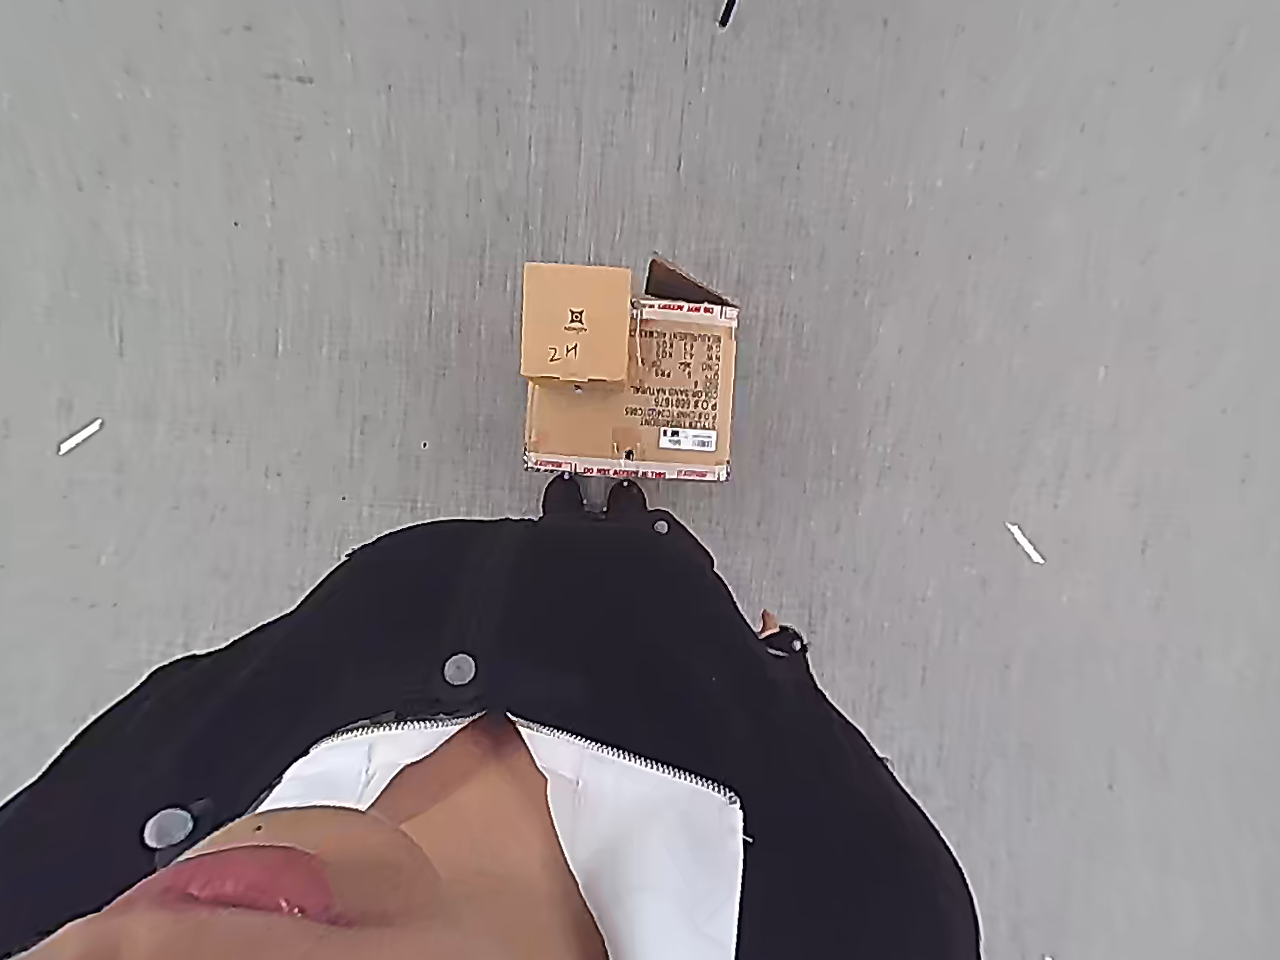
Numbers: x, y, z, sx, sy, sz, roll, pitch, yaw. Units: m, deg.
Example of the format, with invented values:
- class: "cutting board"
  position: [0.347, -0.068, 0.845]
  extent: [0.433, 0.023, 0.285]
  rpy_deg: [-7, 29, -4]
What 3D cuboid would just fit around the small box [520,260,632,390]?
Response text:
- class: "small box"
  position: [-0.102, -0.251, 0.910]
  extent: [0.168, 0.176, 0.179]
  rpy_deg: [3, 95, -2]
